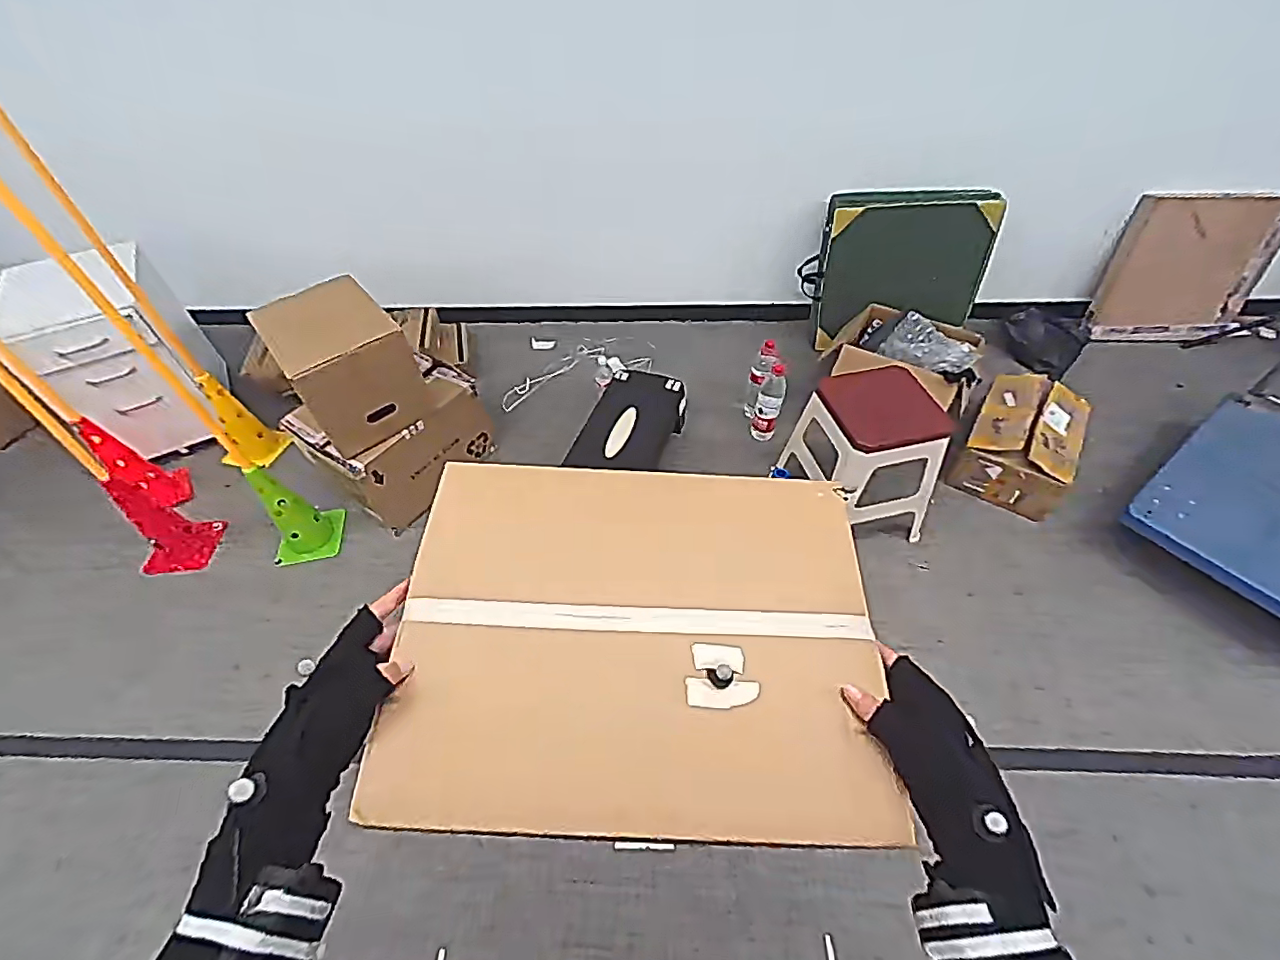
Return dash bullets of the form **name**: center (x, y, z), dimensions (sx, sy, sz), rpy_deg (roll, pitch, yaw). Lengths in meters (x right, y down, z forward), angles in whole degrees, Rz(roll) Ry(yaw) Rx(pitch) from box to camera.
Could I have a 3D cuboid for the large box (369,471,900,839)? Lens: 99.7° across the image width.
- **large box**: center (-0.007, 0.209, 0.602), dimensions (0.408, 0.320, 0.320), rpy_deg (3, 56, -2)
